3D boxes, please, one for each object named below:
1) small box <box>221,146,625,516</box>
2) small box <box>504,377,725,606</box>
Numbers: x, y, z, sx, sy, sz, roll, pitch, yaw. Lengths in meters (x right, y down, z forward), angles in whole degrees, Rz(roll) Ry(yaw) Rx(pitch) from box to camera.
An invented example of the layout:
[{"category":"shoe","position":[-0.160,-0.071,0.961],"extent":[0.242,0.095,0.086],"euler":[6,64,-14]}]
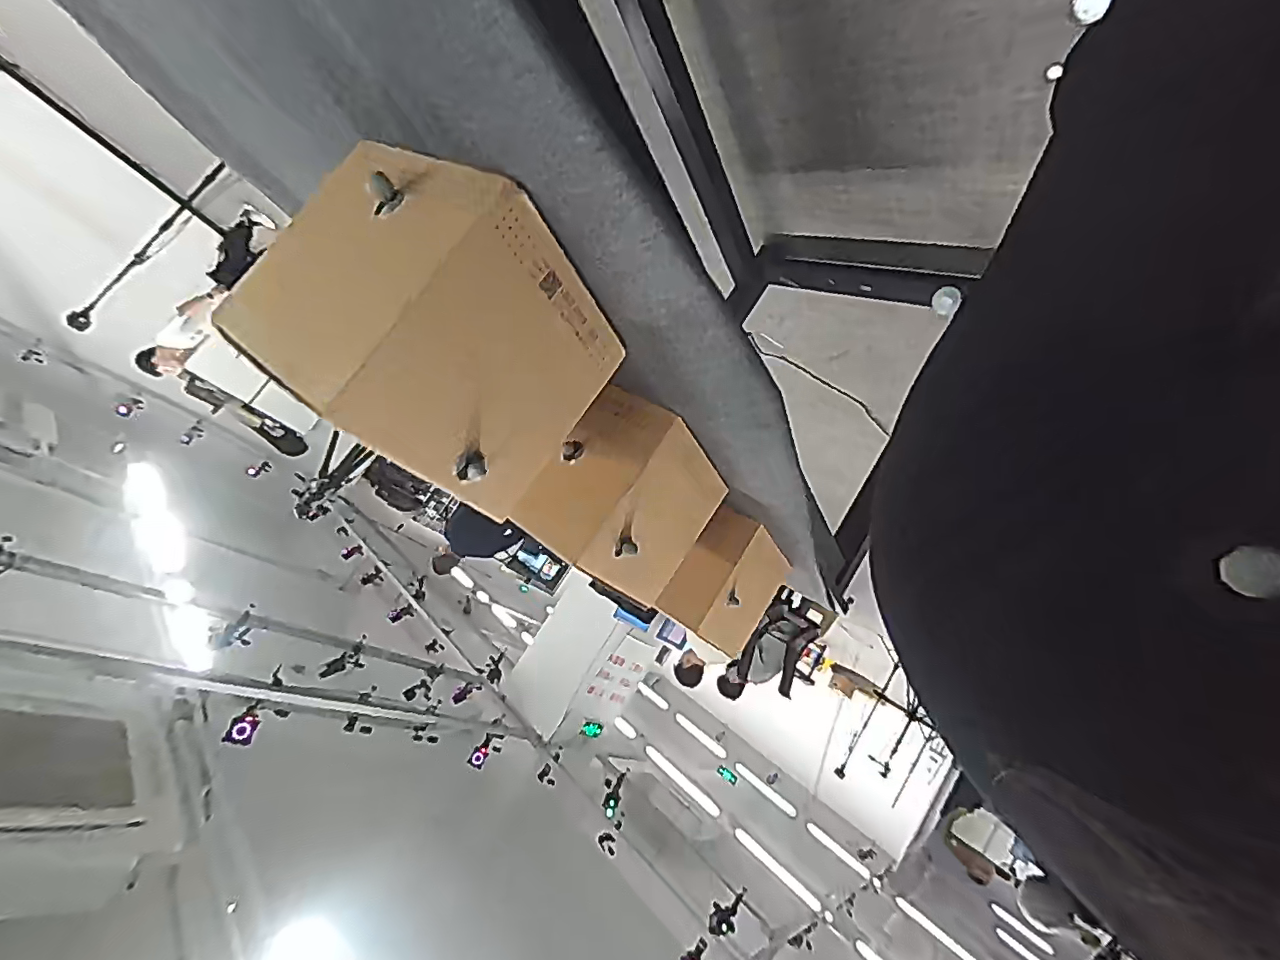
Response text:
[{"category":"small box","position":[-0.143,-0.107,0.396],"extent":[0.179,0.176,0.168],"euler":[31,171,30]},{"category":"small box","position":[-0.033,0.007,0.591],"extent":[0.168,0.176,0.179],"euler":[30,171,34]}]
